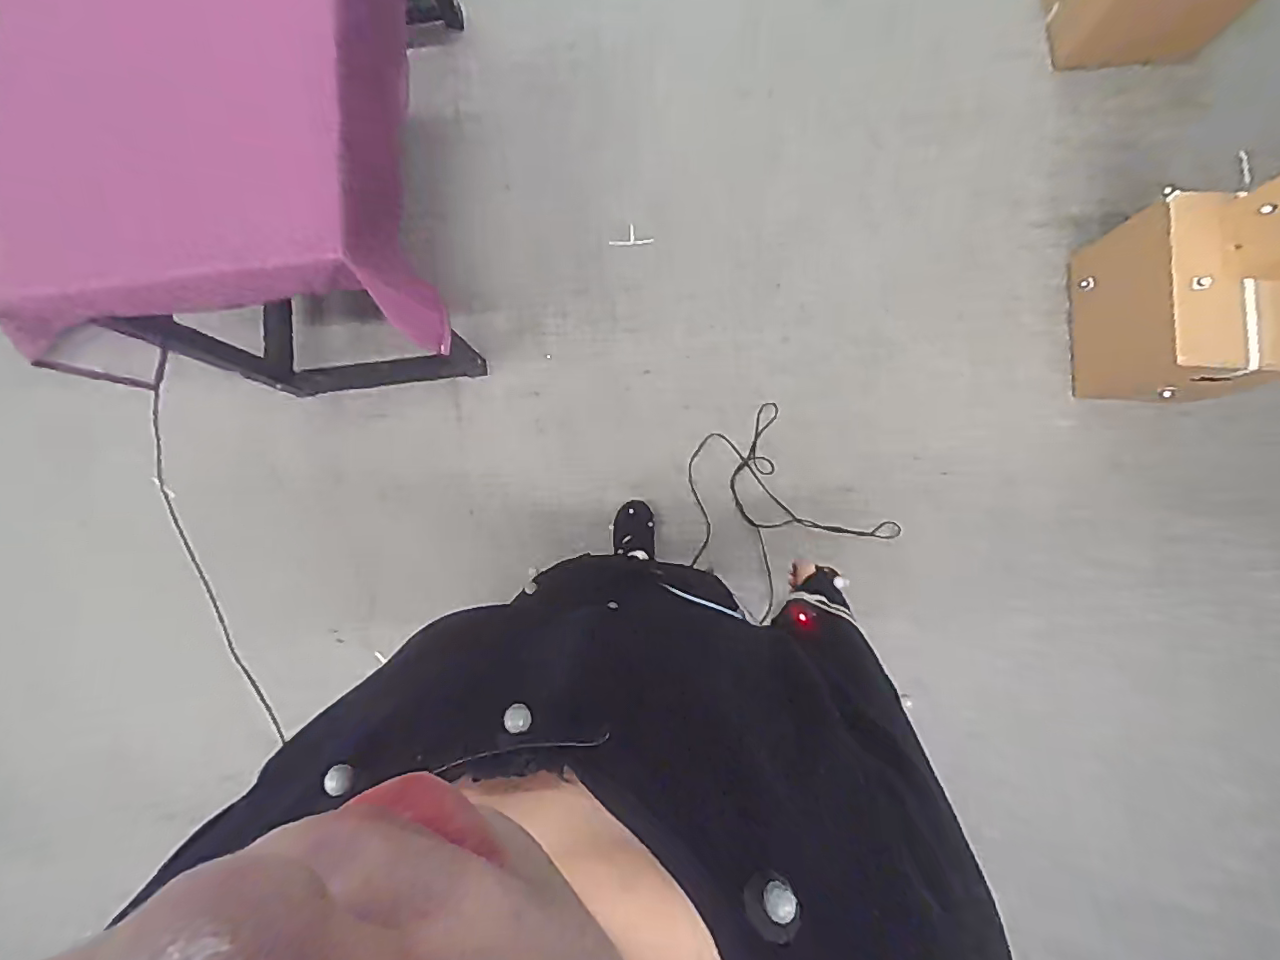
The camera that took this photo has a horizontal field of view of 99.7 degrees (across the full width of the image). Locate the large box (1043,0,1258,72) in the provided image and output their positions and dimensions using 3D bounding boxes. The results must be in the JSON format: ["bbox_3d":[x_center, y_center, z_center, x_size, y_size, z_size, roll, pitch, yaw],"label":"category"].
[{"bbox_3d":[1.391,-1.367,1.441,0.408,0.320,0.320,-3,85,1],"label":"large box"}]

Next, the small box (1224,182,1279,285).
[{"bbox_3d":[1.374,-0.518,1.117,0.179,0.176,0.168,3,85,1],"label":"small box"}]
